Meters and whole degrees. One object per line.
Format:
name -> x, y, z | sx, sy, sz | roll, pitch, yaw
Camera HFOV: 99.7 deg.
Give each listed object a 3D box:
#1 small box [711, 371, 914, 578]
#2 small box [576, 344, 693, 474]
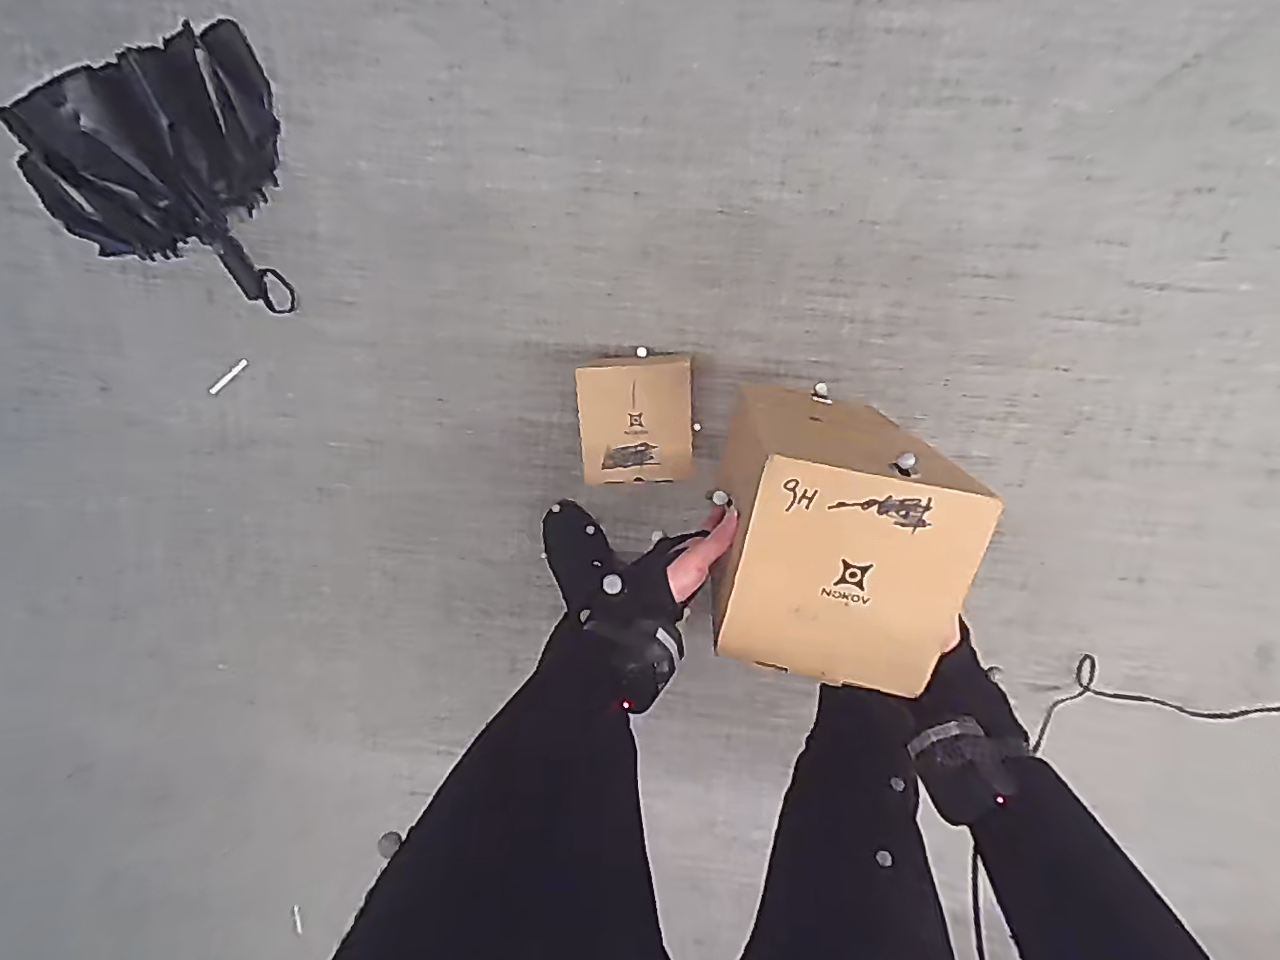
small box -> 0.181, -0.017, 0.627 | 0.168, 0.176, 0.179 | 11, 110, 3
small box -> 0.000, -0.117, 0.857 | 0.168, 0.176, 0.179 | -1, 108, 5
